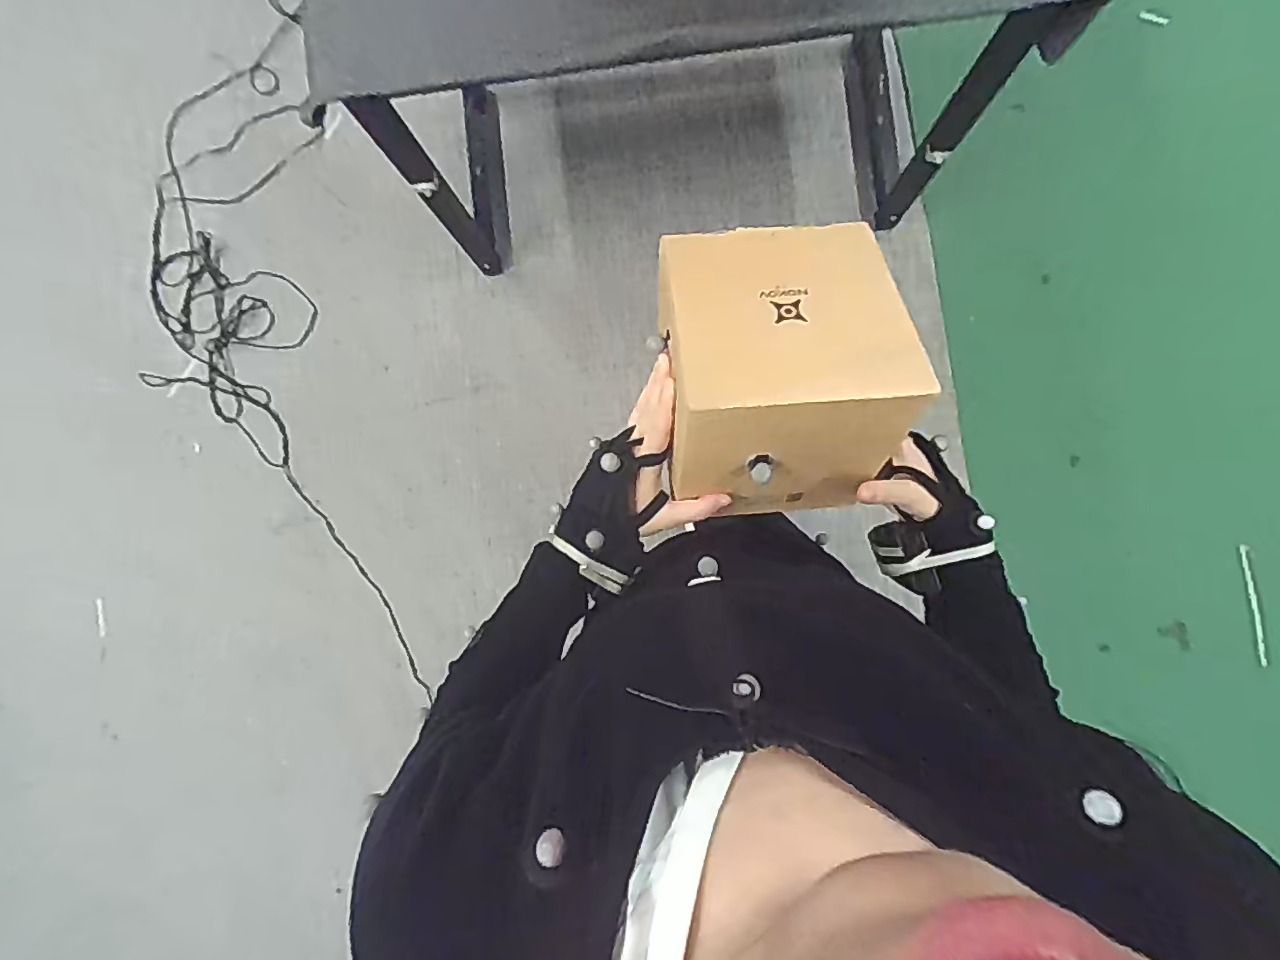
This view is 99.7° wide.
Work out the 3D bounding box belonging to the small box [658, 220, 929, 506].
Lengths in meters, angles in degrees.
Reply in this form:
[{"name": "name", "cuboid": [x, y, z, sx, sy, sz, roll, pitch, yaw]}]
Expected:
[{"name": "small box", "cuboid": [0.104, -0.087, 0.458, 0.168, 0.176, 0.179, -4, 60, -1]}]
